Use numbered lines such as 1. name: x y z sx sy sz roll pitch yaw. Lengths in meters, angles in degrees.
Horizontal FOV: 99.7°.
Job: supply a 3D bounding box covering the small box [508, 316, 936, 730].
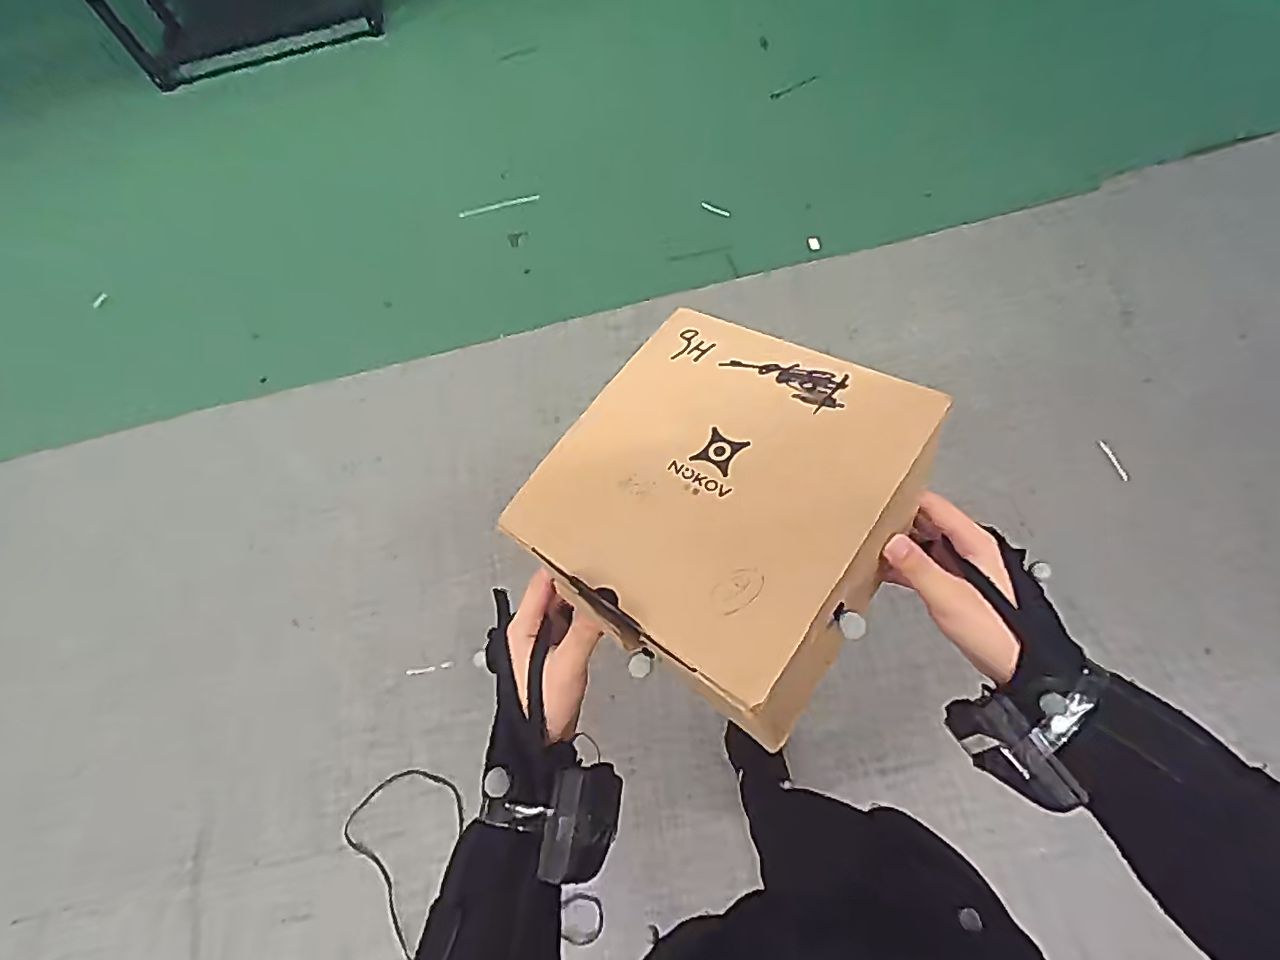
1. small box: 0.058 0.034 0.349 0.168 0.176 0.179 30 73 30
